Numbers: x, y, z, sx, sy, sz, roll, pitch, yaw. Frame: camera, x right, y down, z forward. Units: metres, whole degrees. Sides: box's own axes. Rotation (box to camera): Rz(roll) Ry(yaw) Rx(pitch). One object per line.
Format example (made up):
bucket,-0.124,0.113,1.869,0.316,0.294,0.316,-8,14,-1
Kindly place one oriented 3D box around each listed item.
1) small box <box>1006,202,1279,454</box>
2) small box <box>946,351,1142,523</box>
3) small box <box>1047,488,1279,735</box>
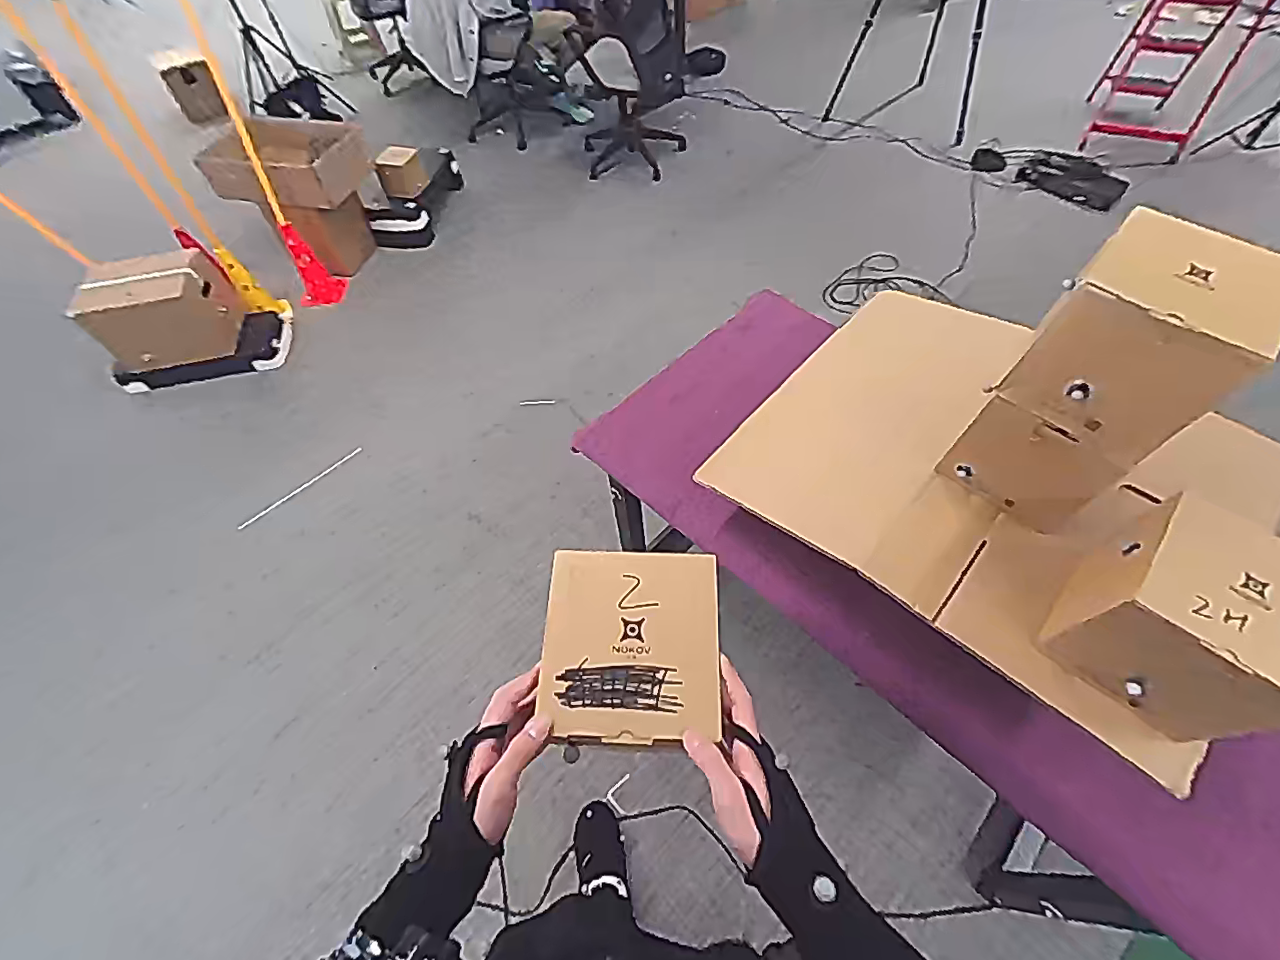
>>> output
small box,0.557,-0.164,0.603,0.168,0.176,0.179,36,66,20
small box,0.555,-0.072,0.737,0.168,0.176,0.179,37,65,21
small box,0.604,0.149,0.598,0.168,0.176,0.179,37,66,23
